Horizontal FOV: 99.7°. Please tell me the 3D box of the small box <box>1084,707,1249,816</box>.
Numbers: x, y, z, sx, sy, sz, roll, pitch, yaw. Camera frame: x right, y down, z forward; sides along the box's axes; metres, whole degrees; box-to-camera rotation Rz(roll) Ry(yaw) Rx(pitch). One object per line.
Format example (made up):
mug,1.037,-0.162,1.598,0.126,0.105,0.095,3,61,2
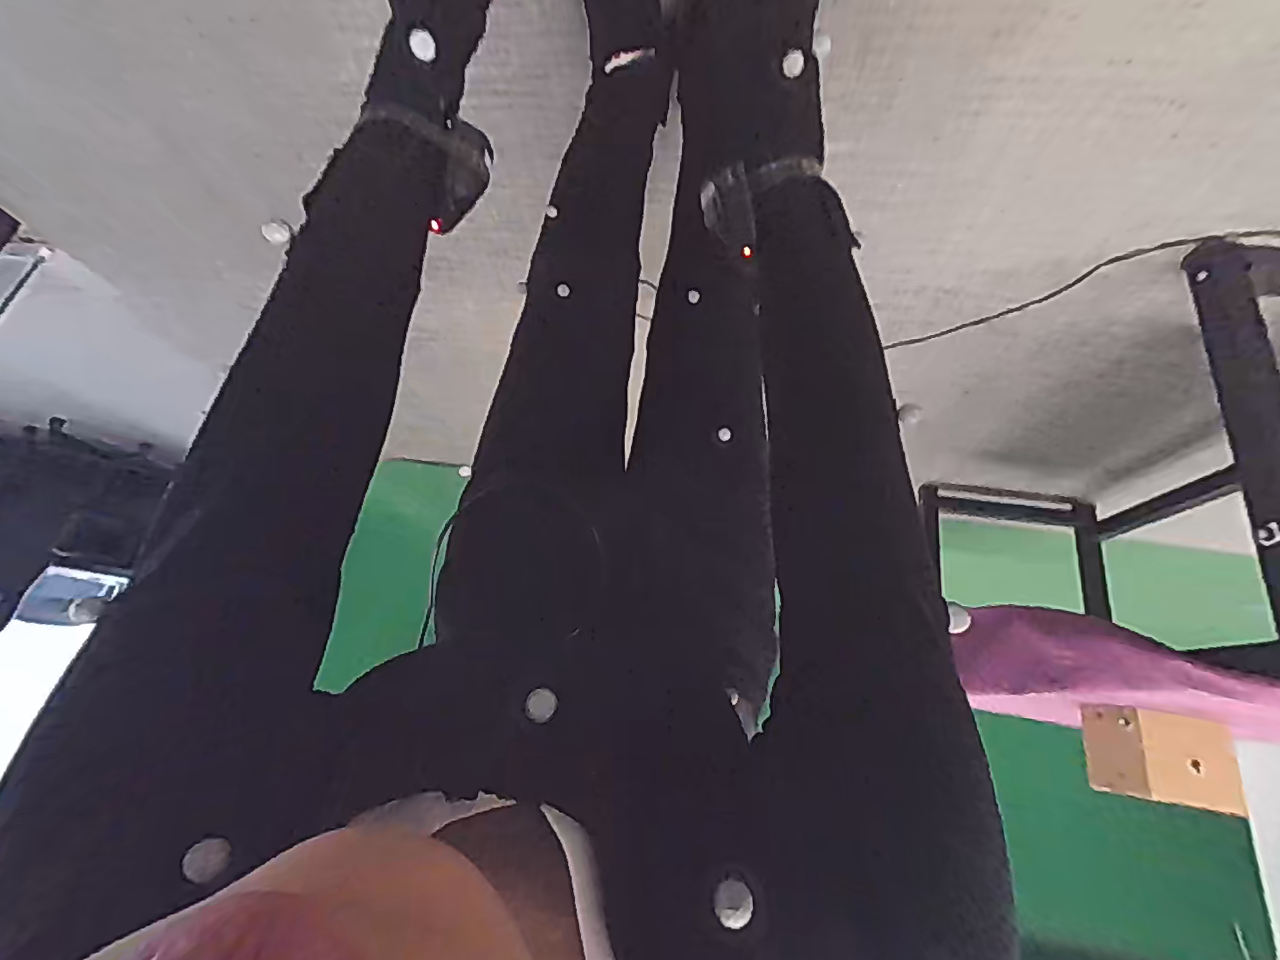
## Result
small box,1.076,0.575,1.125,0.179,0.176,0.168,7,158,6
